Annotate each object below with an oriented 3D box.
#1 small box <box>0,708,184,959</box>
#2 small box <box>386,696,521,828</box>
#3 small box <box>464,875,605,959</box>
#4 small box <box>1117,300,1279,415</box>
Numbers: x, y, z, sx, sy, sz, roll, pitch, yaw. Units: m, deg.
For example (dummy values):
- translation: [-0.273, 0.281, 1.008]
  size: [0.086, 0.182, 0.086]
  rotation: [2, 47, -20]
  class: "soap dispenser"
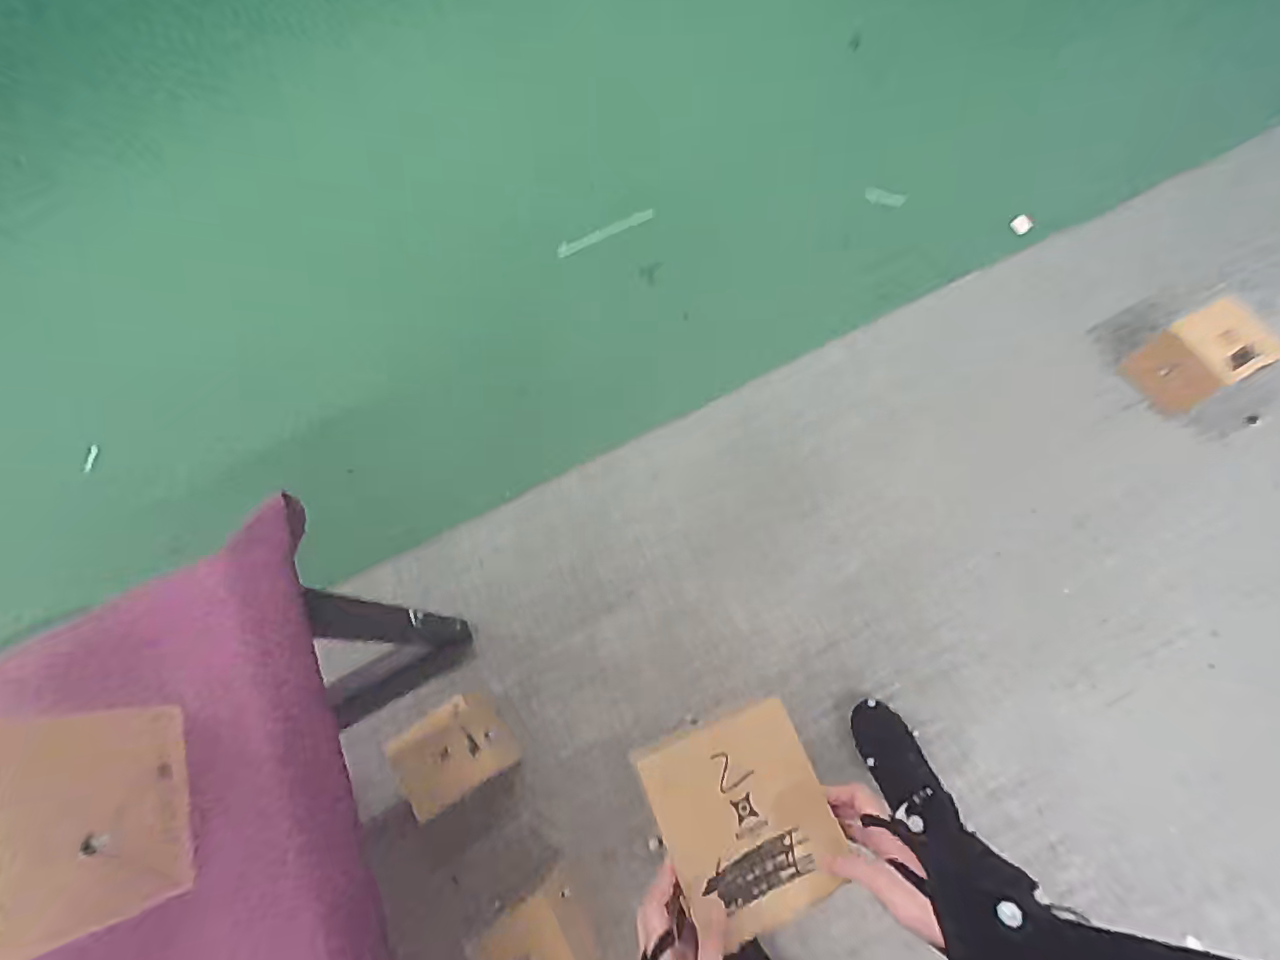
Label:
- translation: [-0.520, 0.302, 0.442]
  size: [0.179, 0.176, 0.168]
  rotation: [-22, 71, -1]
  class: "small box"
- translation: [-0.372, 0.565, 1.107]
  size: [0.179, 0.176, 0.168]
  rotation: [-33, 70, -6]
  class: "small box"
- translation: [-0.183, 0.862, 0.982]
  size: [0.168, 0.176, 0.179]
  rotation: [-34, 71, -6]
  class: "small box"
- translation: [1.282, -0.271, 1.247]
  size: [0.168, 0.176, 0.179]
  rotation: [-26, 69, -5]
  class: "small box"
